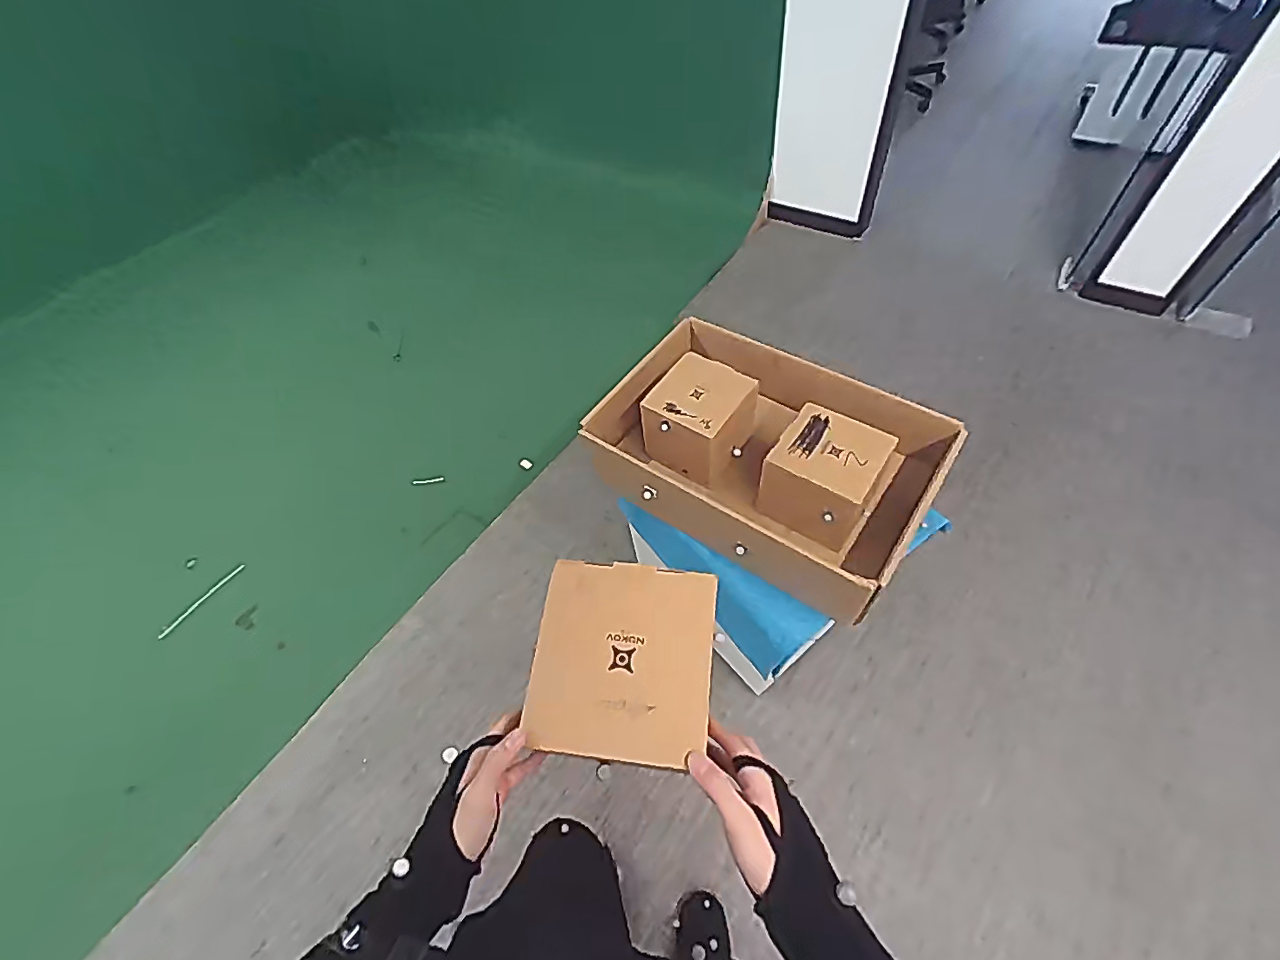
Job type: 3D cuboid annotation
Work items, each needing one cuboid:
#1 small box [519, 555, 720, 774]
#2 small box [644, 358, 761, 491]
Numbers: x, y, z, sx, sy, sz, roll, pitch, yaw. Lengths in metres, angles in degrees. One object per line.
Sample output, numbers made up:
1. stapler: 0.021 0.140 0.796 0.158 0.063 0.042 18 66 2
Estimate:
1. small box: -0.010 0.198 0.569 0.168 0.176 0.179 5 61 7
2. small box: 0.126 -0.112 1.107 0.168 0.176 0.179 29 62 25
